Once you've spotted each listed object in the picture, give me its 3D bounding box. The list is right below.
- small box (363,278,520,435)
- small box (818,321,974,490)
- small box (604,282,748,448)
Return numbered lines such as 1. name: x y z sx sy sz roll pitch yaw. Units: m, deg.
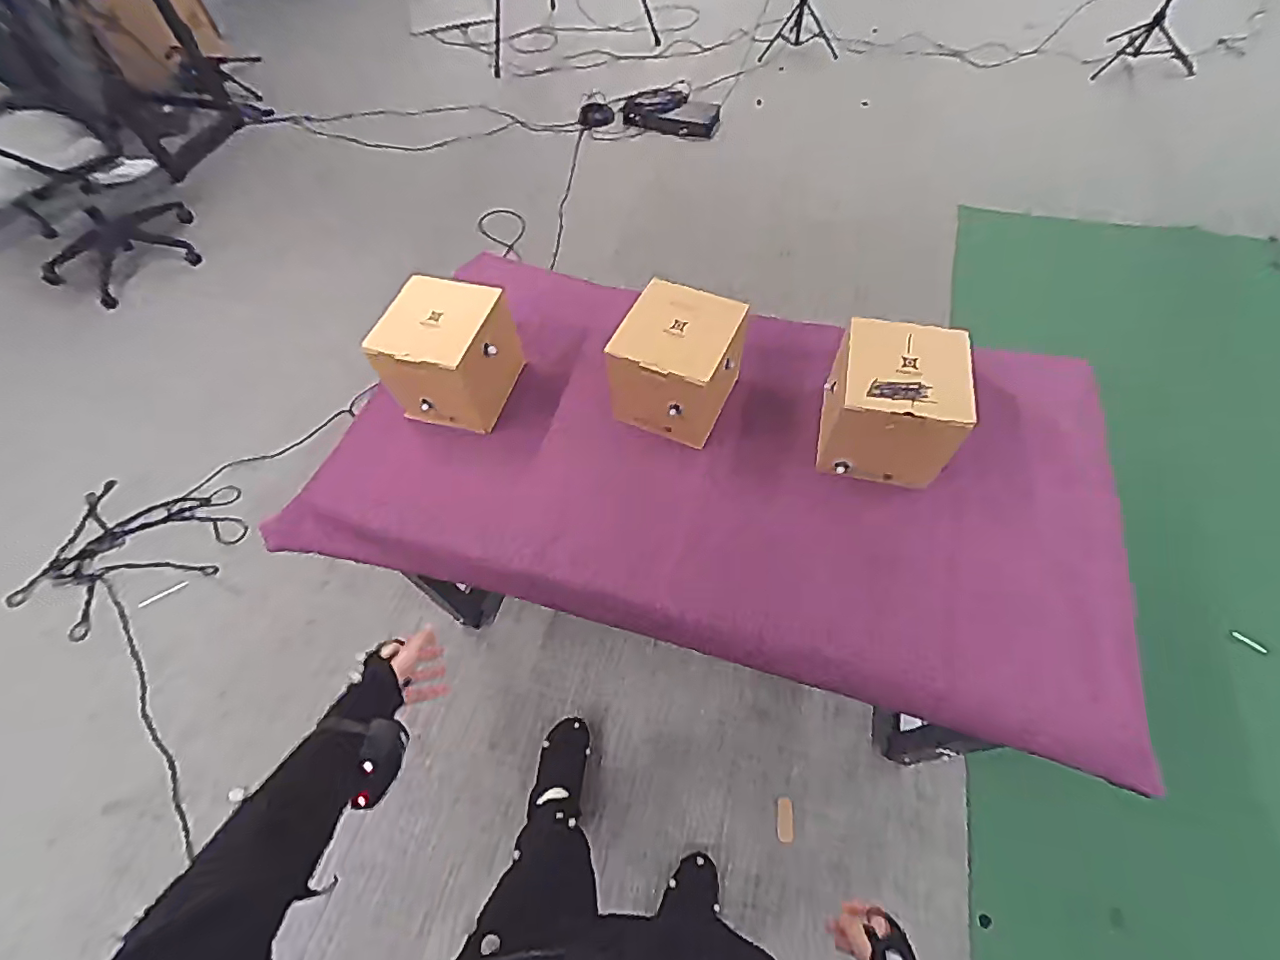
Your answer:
1. small box: -0.316 -0.205 0.911 0.168 0.176 0.179 13 61 10
2. small box: 0.372 -0.107 0.809 0.168 0.176 0.179 11 59 10
3. small box: 0.061 -0.180 0.874 0.168 0.176 0.179 22 62 15
